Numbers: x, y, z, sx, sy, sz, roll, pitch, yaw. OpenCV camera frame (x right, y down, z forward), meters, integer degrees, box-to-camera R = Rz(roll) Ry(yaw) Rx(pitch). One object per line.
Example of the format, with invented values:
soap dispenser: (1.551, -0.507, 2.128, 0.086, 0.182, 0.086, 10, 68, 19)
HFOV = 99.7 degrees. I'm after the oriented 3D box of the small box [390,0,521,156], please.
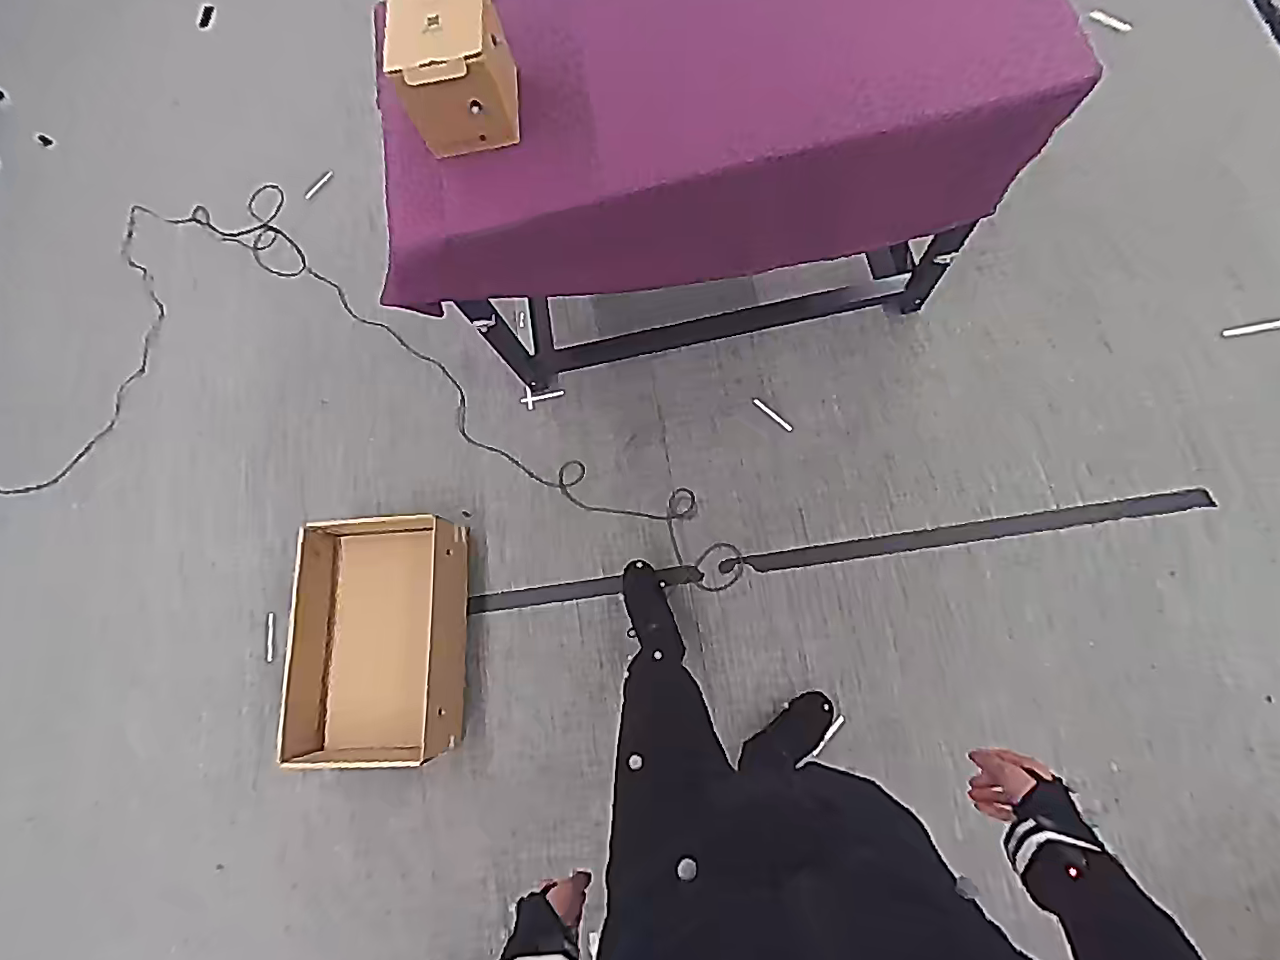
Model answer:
small box: (-0.314, -0.703, 0.950, 0.168, 0.176, 0.179, -6, 75, 6)
